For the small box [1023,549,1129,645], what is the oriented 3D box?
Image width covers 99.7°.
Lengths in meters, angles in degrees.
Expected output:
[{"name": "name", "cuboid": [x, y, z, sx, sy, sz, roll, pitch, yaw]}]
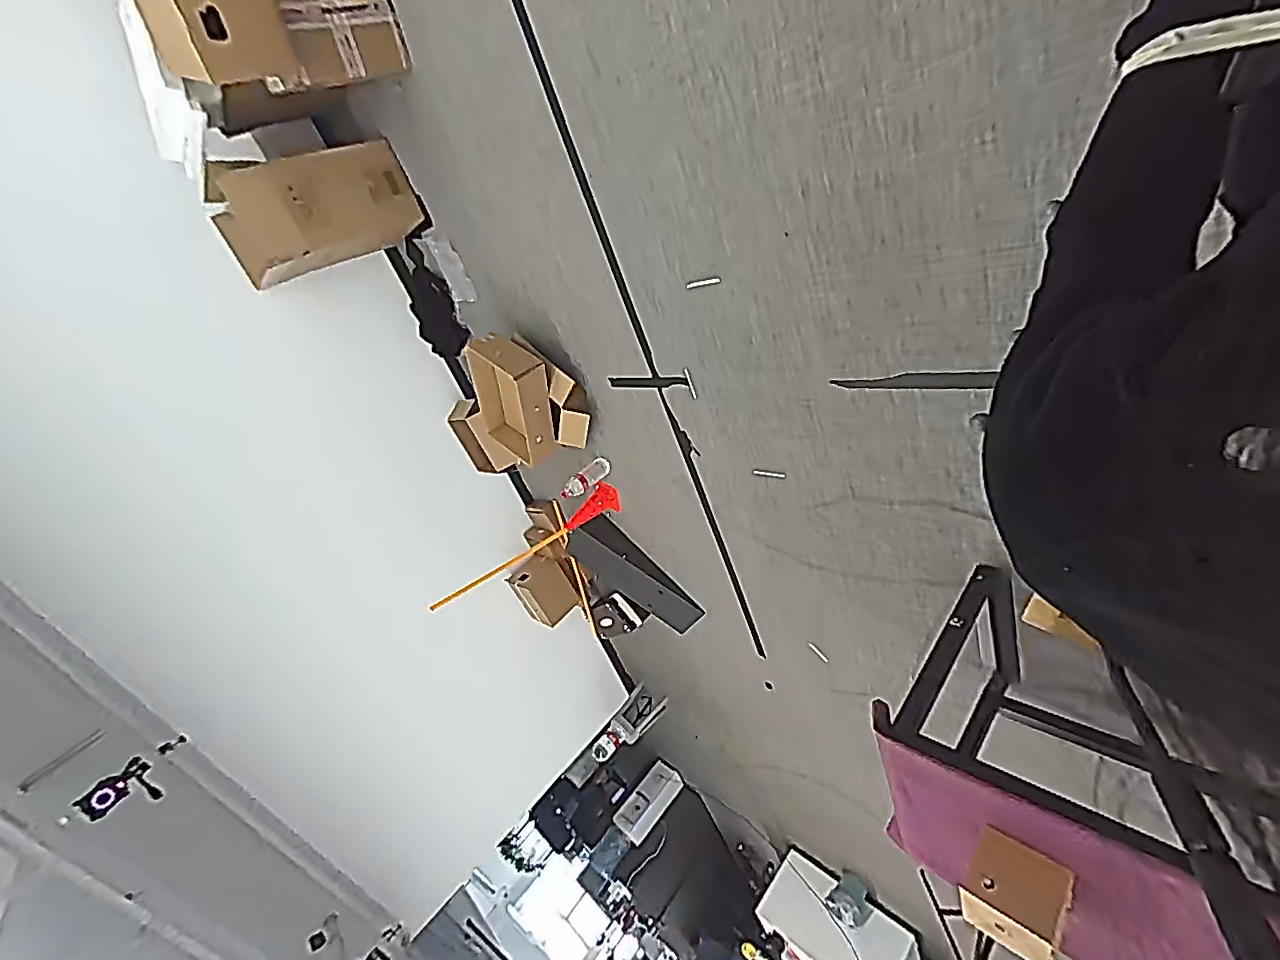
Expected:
[{"name": "small box", "cuboid": [1.229, 0.322, 1.528, 0.179, 0.176, 0.168, 25, 141, 35]}]

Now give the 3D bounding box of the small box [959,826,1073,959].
[{"name": "small box", "cuboid": [0.861, 0.940, 1.241, 0.179, 0.176, 0.168, 12, 134, 46]}]
